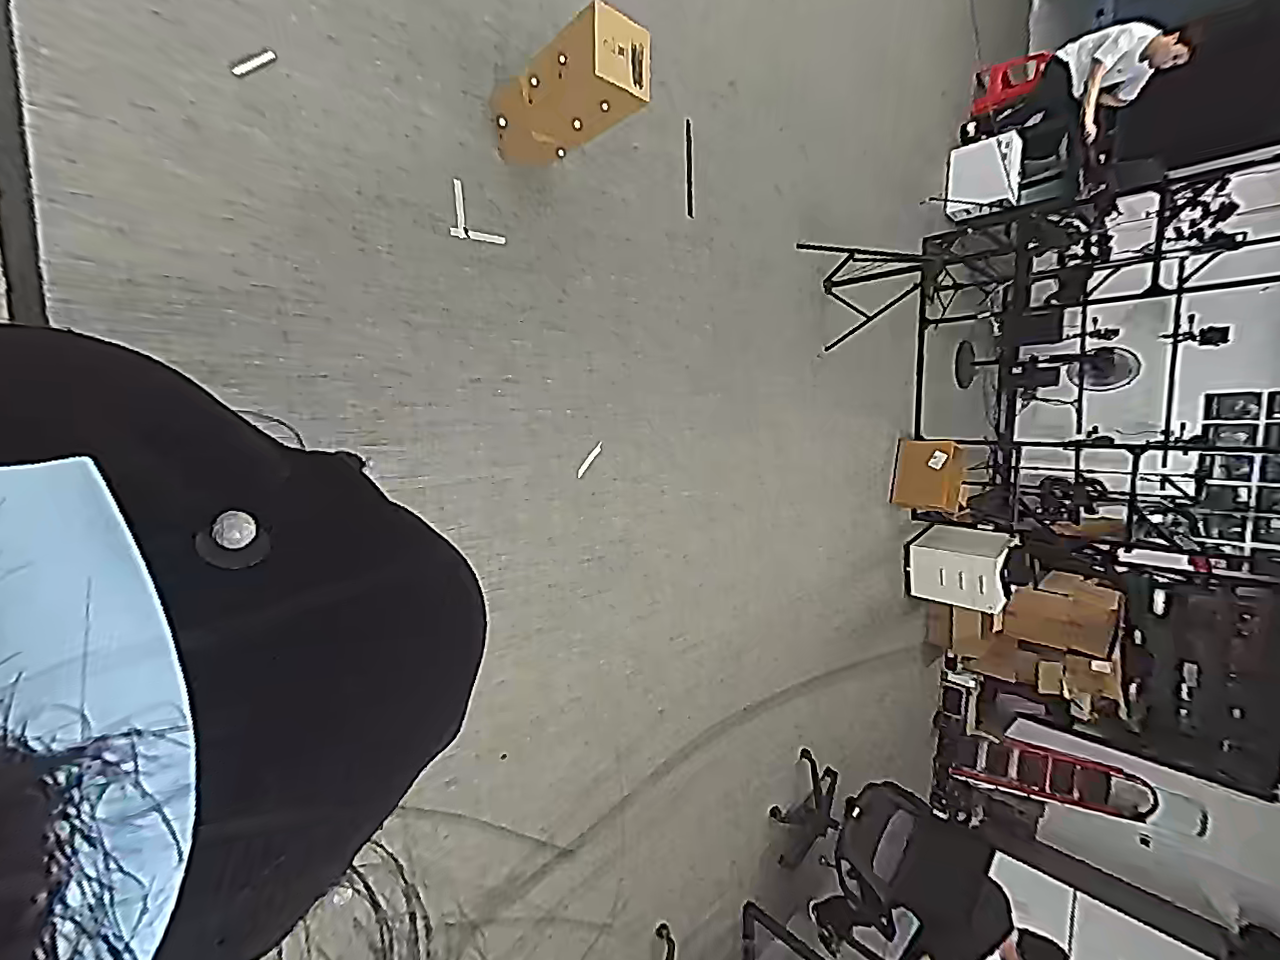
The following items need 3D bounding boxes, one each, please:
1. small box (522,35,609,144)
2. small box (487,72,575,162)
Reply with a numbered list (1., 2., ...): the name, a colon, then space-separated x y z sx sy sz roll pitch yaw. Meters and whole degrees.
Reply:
1. small box: -0.204 -1.054 1.482 0.179 0.176 0.168 -6 99 -43
2. small box: -0.321 -1.059 1.595 0.179 0.176 0.168 -23 109 -40
